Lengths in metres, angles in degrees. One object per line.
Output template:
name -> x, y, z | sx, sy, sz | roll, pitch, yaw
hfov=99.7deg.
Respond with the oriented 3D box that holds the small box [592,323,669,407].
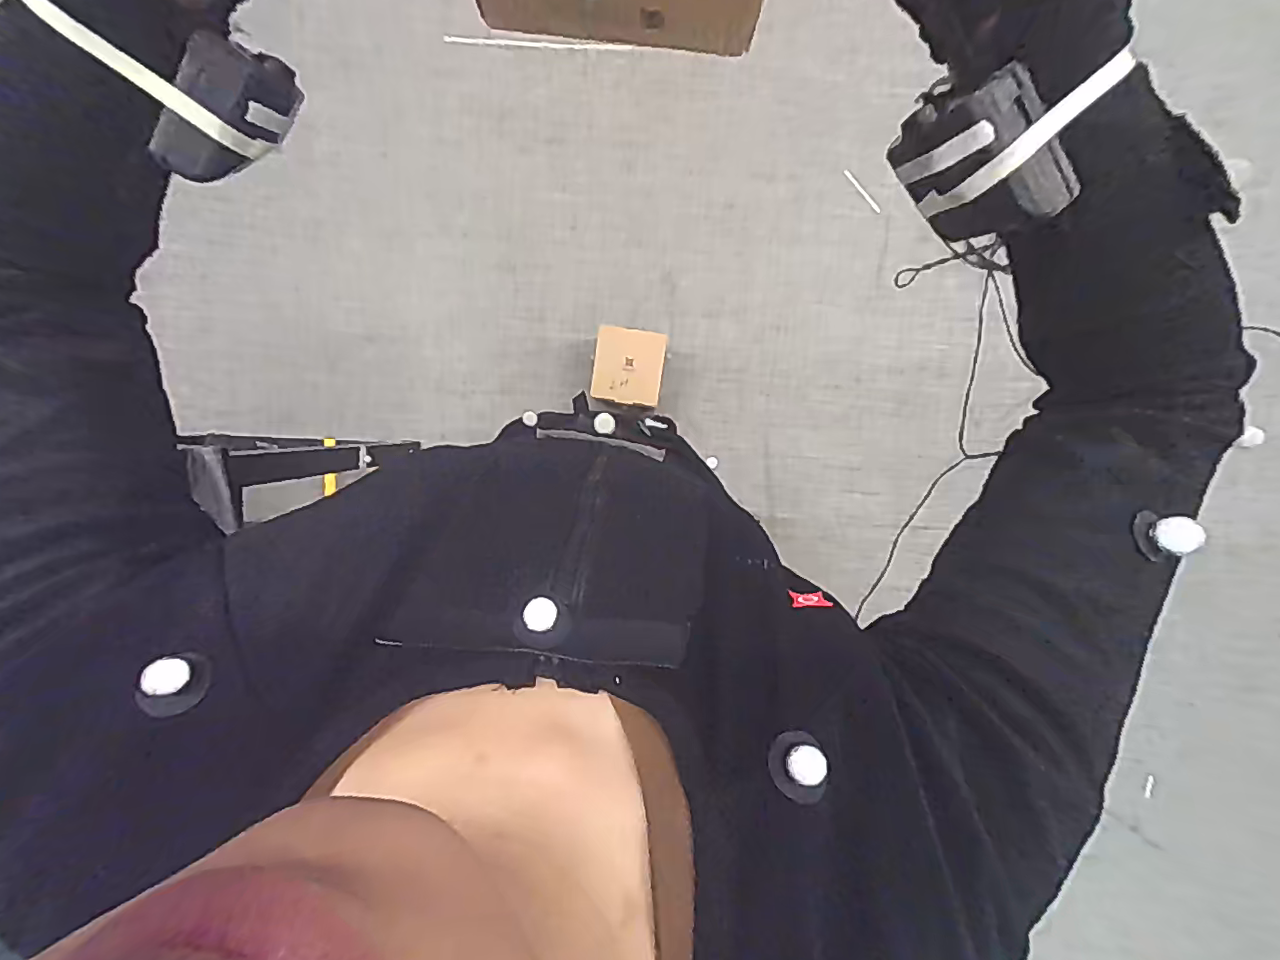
small box -> -0.025, -0.286, 1.377 | 0.168, 0.176, 0.179 | 9, 96, 0
